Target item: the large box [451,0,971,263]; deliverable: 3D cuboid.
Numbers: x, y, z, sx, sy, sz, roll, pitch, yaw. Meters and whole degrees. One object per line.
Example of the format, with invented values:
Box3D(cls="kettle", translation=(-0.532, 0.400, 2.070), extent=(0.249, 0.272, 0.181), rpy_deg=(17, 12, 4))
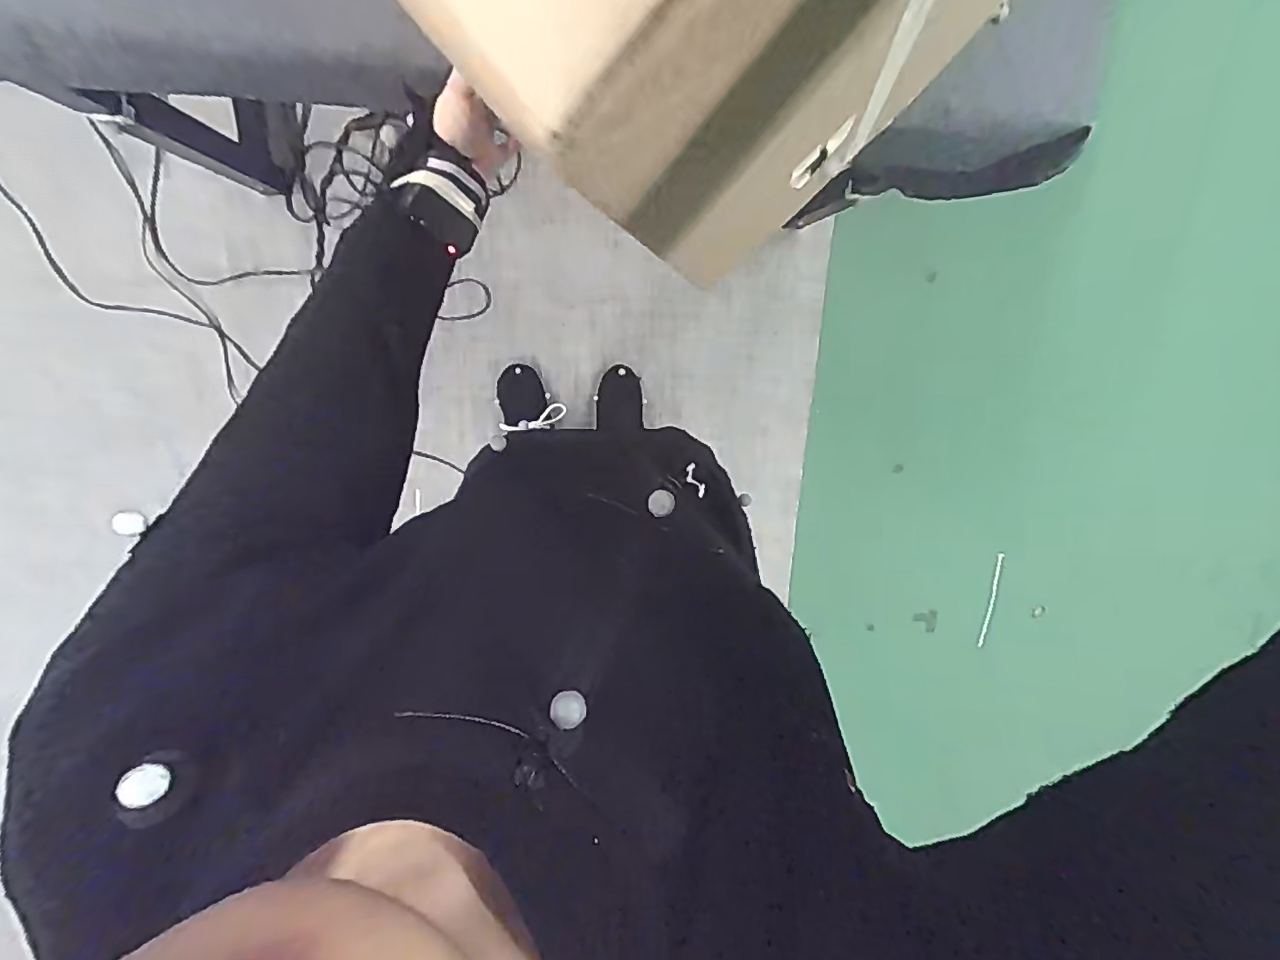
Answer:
Box3D(cls="large box", translation=(0.028, -0.353, 0.267), extent=(0.320, 0.408, 0.320), rpy_deg=(-42, 94, 19))
